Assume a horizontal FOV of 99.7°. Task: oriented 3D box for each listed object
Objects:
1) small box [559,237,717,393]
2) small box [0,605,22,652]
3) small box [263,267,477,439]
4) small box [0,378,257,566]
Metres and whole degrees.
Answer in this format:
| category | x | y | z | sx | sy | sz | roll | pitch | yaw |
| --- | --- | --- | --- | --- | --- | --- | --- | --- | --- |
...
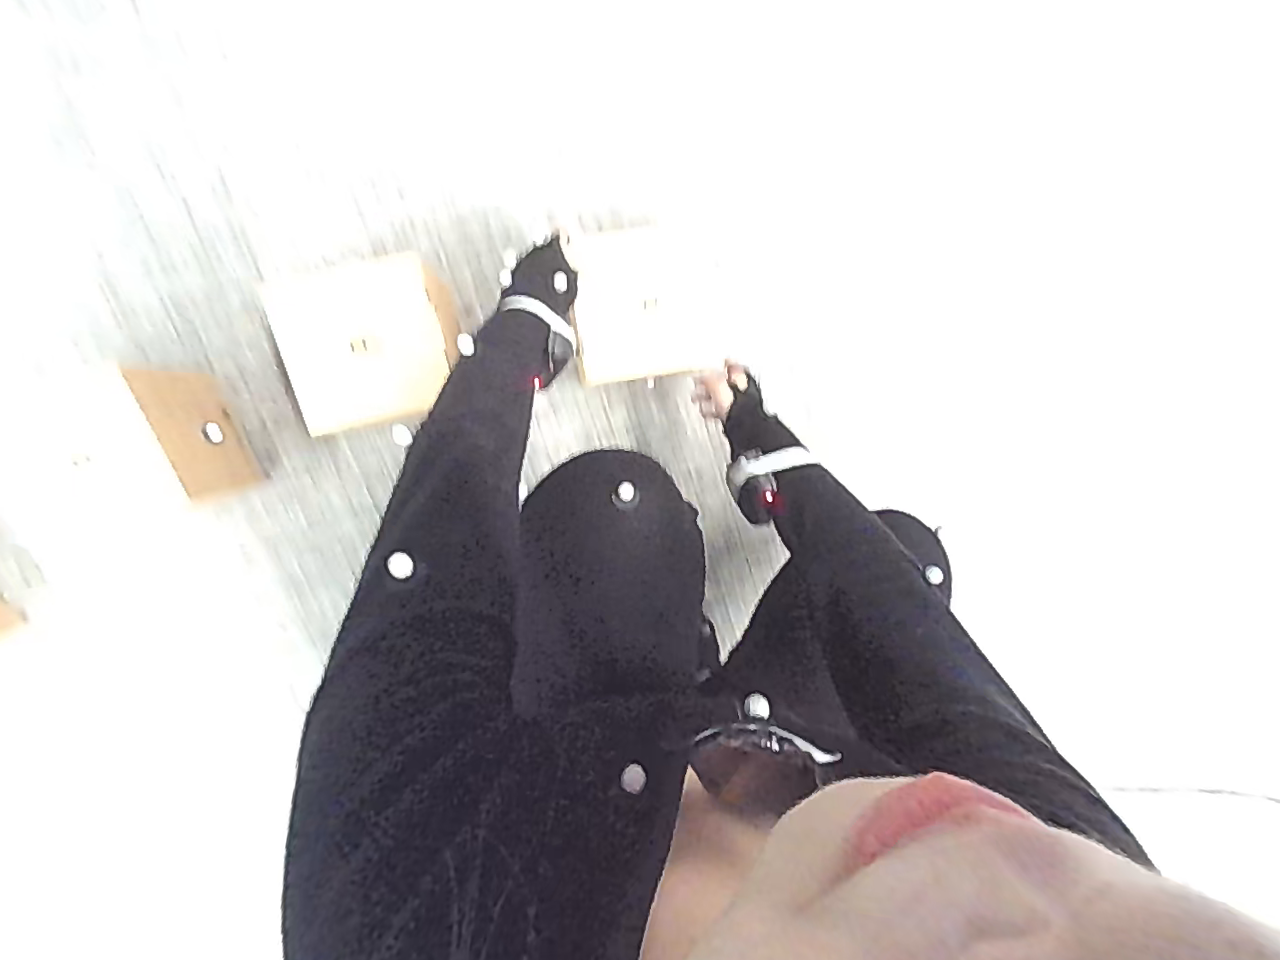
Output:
| category | x | y | z | sx | sy | sz | roll | pitch | yaw |
| --- | --- | --- | --- | --- | --- | --- | --- | --- | --- |
| small box | -0.009 | -0.212 | 0.734 | 0.179 | 0.176 | 0.168 | -9 | 99 | -7 |
| small box | -0.955 | 0.204 | 0.660 | 0.168 | 0.176 | 0.179 | -37 | 100 | -1 |
| small box | -0.329 | -0.153 | 0.699 | 0.179 | 0.176 | 0.168 | -16 | 99 | -6 |
| small box | -0.625 | -0.019 | 0.674 | 0.179 | 0.176 | 0.168 | -22 | 99 | -5 |
